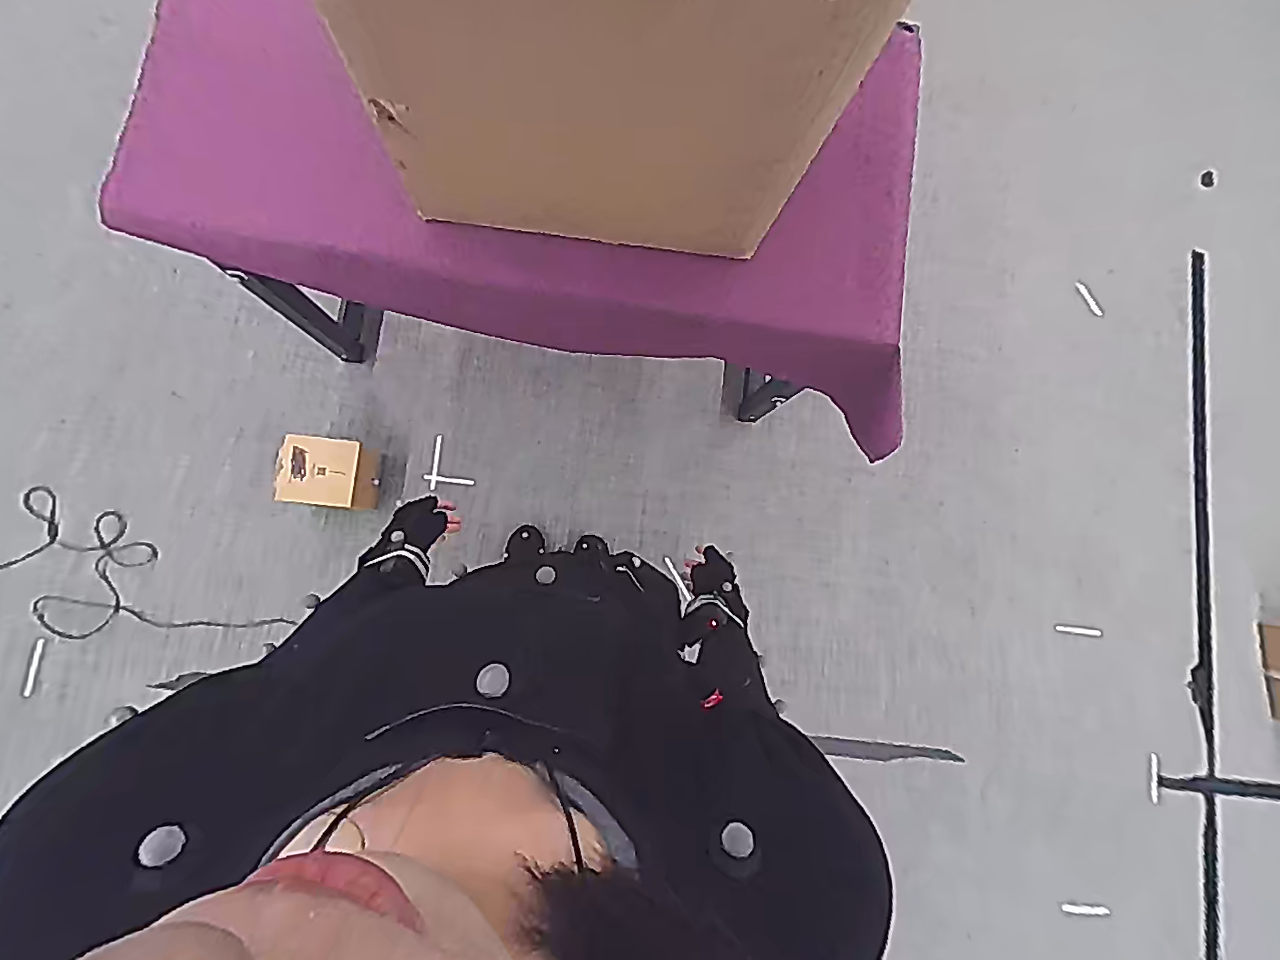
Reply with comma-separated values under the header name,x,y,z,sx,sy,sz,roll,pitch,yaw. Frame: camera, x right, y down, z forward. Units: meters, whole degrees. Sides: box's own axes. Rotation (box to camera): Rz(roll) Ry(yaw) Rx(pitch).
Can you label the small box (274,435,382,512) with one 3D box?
name,x,y,z,sx,sy,sz,roll,pitch,yaw
small box,-0.786,-0.009,1.379,0.179,0.176,0.168,6,83,-7
